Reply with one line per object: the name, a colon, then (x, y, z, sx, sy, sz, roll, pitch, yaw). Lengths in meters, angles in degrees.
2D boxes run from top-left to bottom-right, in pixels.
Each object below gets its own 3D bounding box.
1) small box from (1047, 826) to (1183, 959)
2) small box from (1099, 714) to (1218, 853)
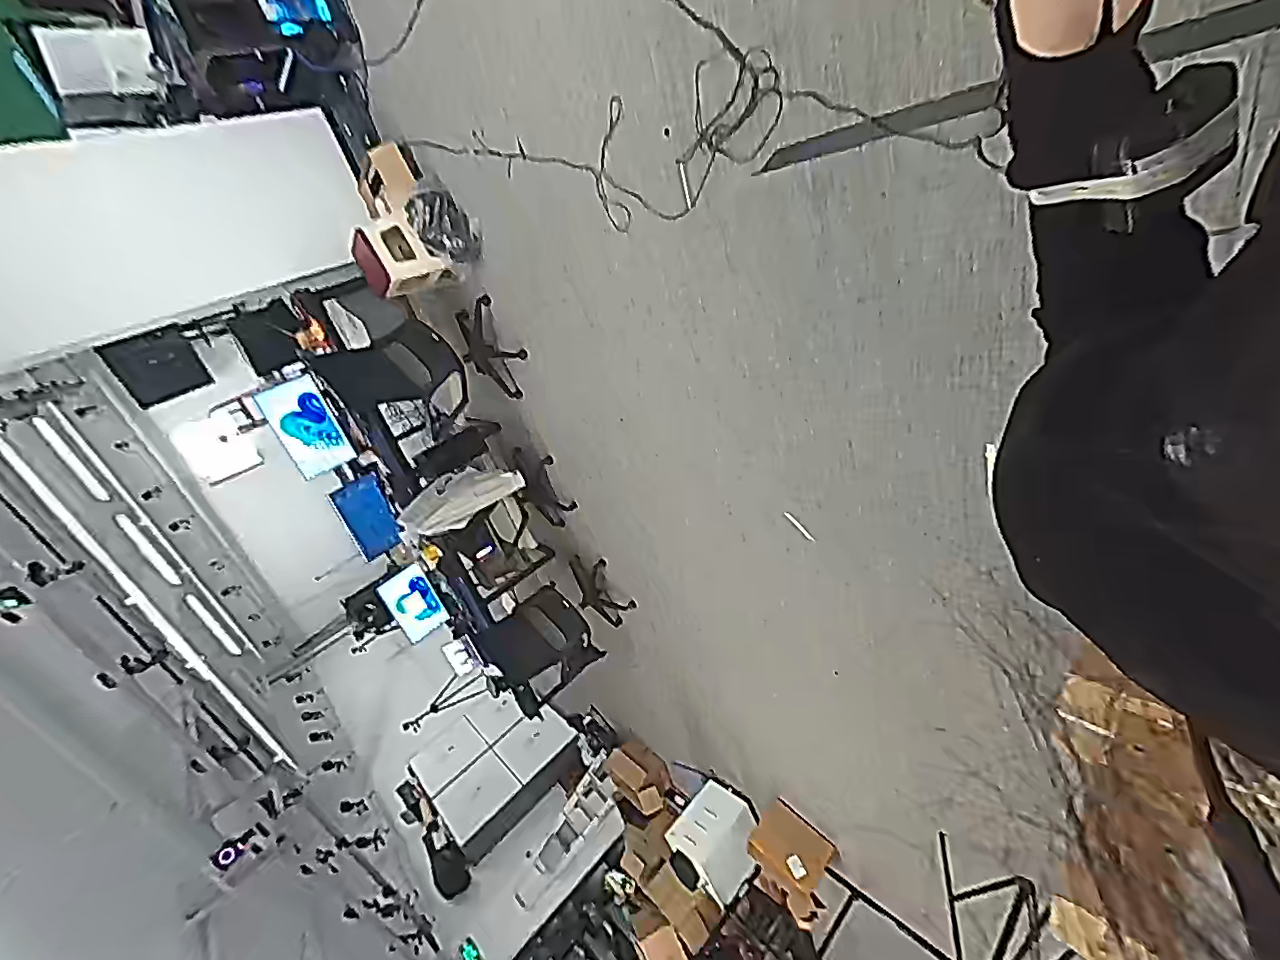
small box: (0.921, 0.832, 1.052, 0.168, 0.176, 0.179, 14, 131, 48)
small box: (1.158, 0.667, 1.210, 0.168, 0.176, 0.179, 12, 130, 50)
